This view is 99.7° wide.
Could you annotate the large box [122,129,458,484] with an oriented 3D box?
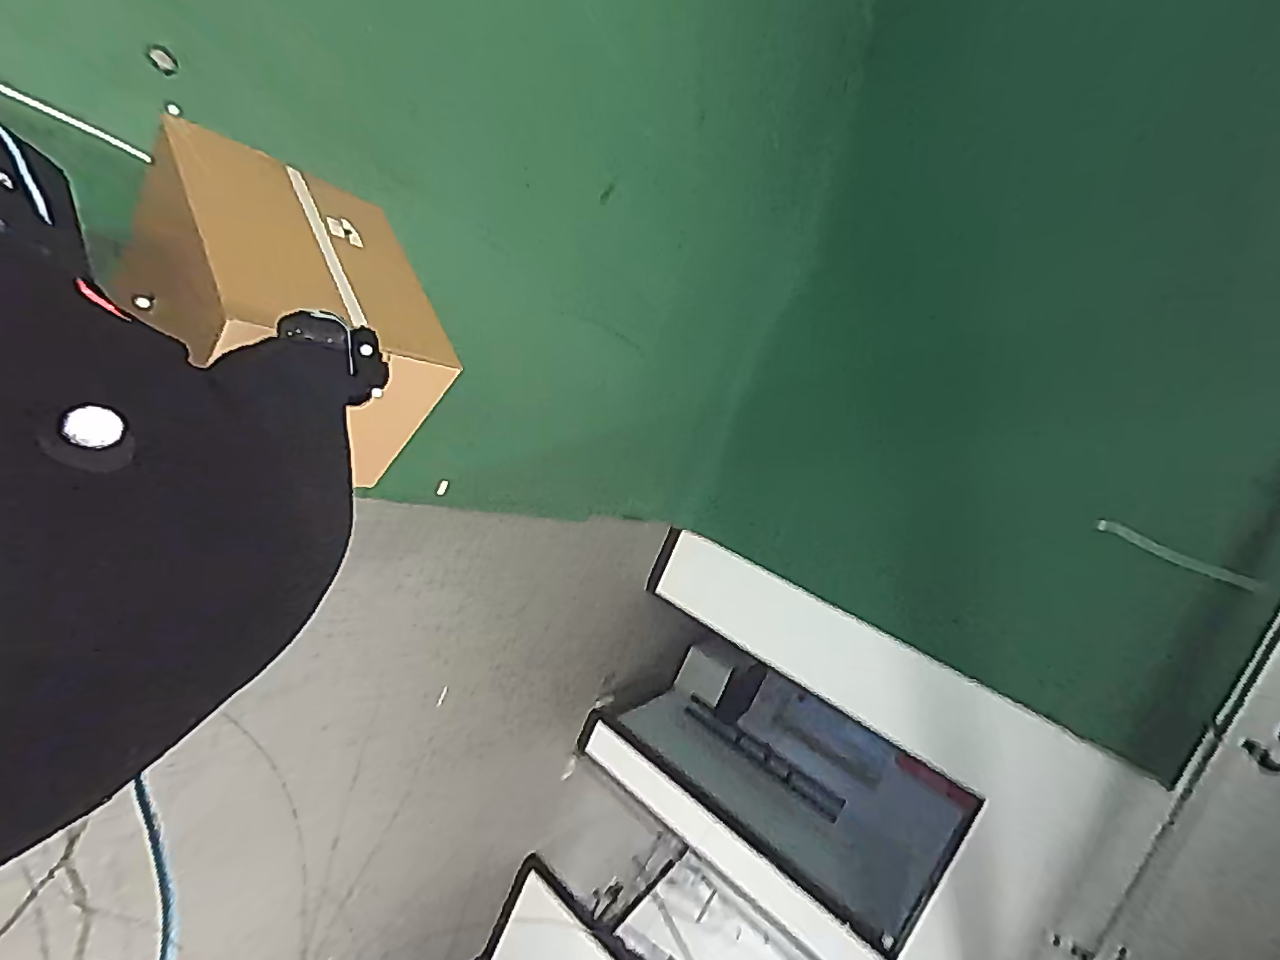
[{"bbox_3d":[-0.570,-0.241,0.872,0.320,0.408,0.320,-43,157,26],"label":"large box"}]
